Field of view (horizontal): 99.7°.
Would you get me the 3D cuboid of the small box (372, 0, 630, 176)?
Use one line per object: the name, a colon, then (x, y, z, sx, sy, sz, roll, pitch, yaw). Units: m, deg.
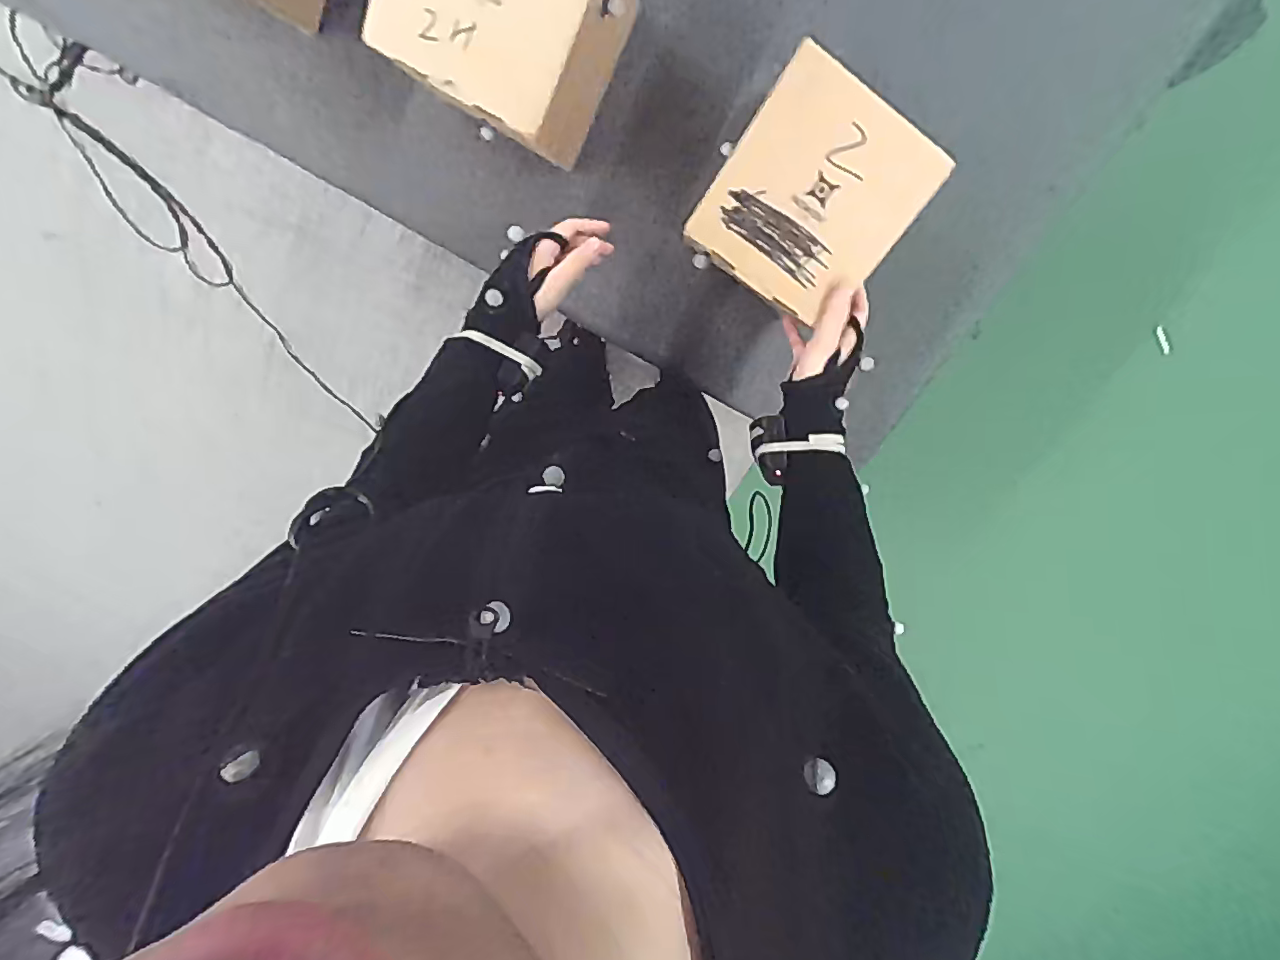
small box: (-0.118, -0.432, 0.526, 0.168, 0.176, 0.179, 29, 111, -8)
